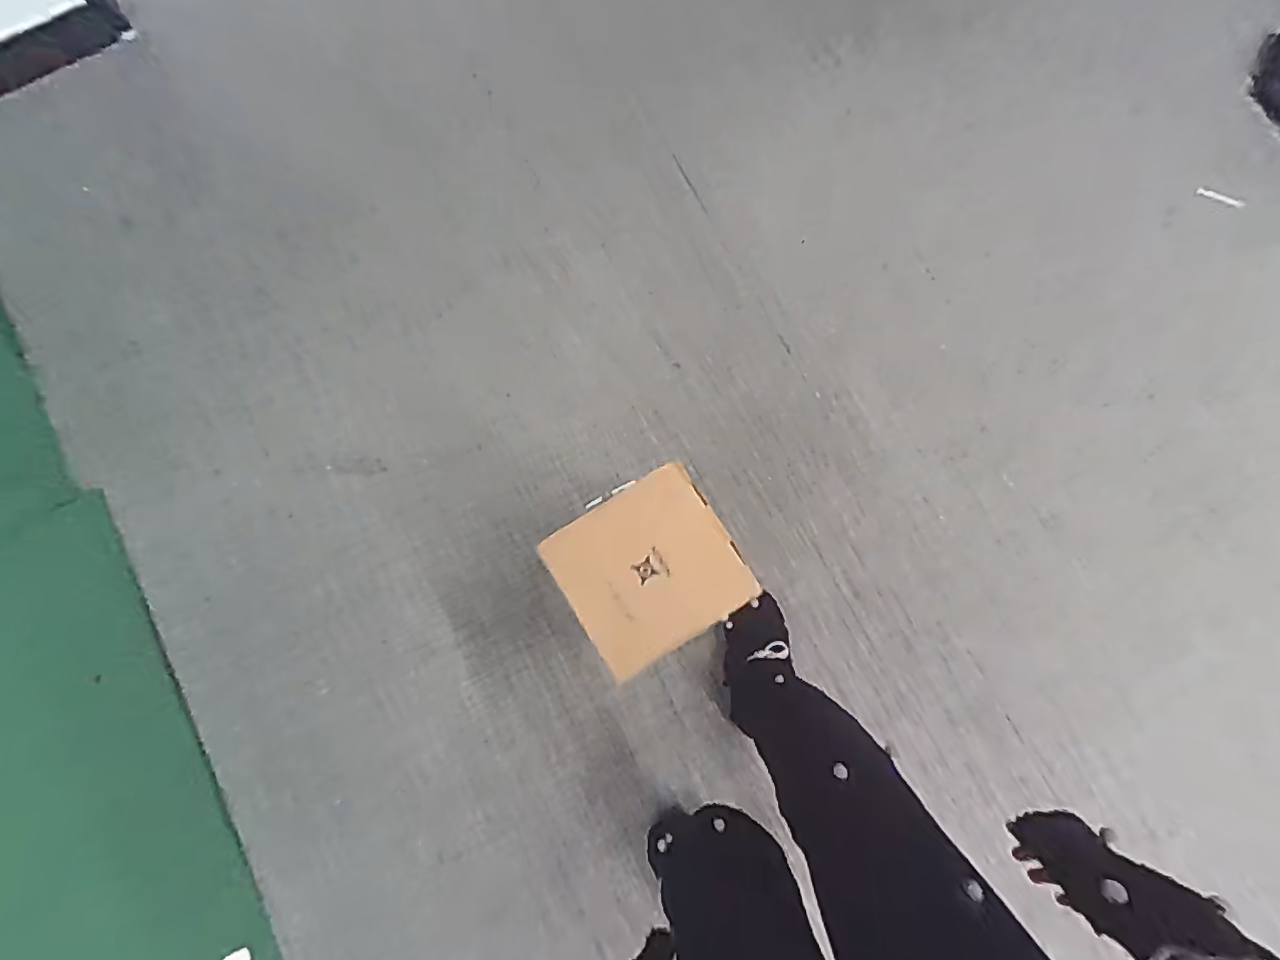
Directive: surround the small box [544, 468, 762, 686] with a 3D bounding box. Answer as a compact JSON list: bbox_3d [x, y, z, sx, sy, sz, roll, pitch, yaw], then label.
[{"bbox_3d":[0.013,0.109,0.640,0.179,0.176,0.168,-33,81,-4],"label":"small box"}]
